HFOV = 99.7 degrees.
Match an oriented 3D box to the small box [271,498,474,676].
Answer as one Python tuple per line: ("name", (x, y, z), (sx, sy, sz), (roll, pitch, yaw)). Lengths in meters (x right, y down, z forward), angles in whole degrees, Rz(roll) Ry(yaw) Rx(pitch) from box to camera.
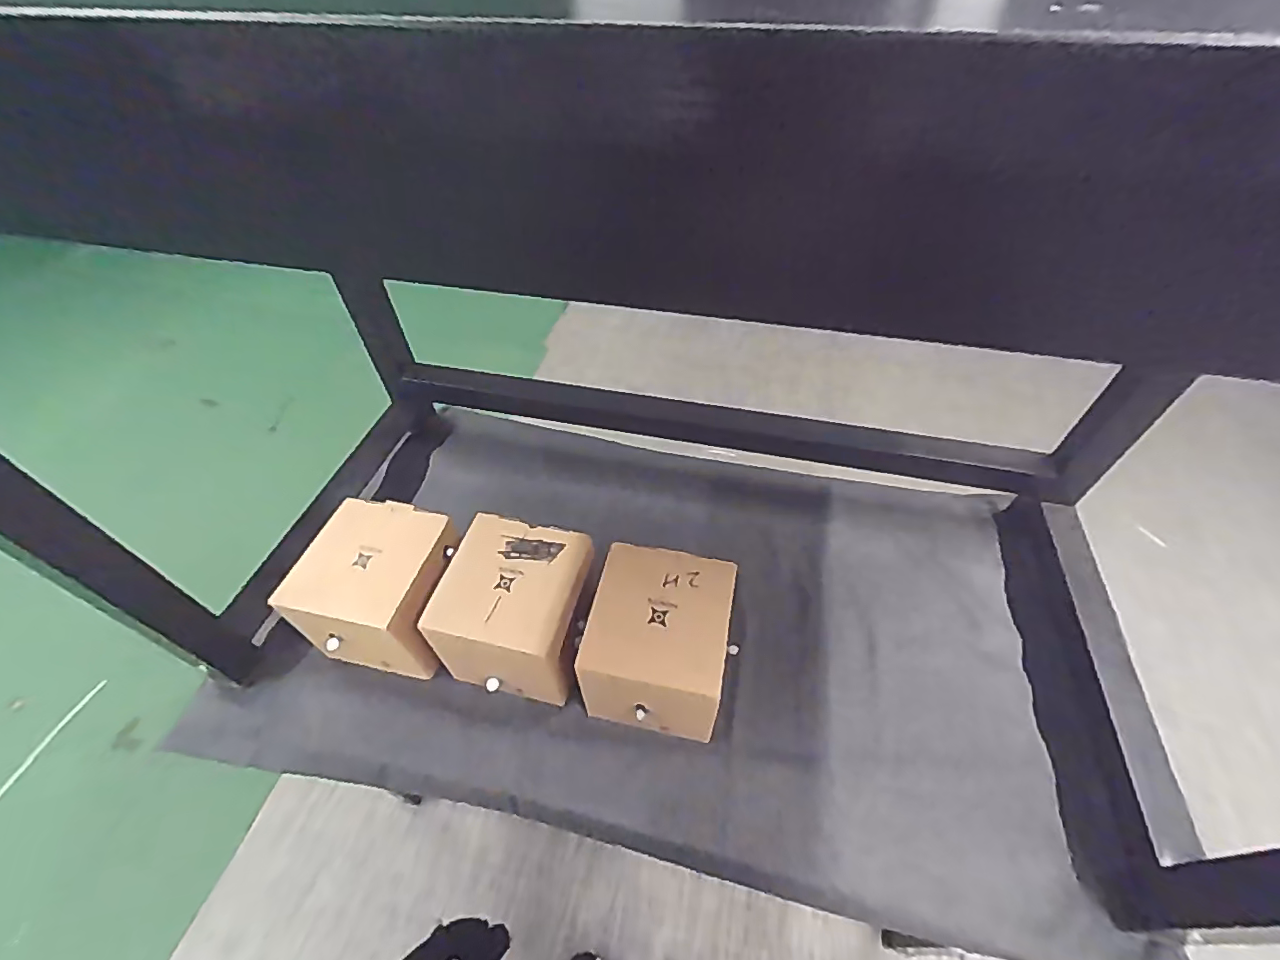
("small box", (-0.356, 0.154, 0.763), (0.168, 0.176, 0.179), (9, 49, 9))
